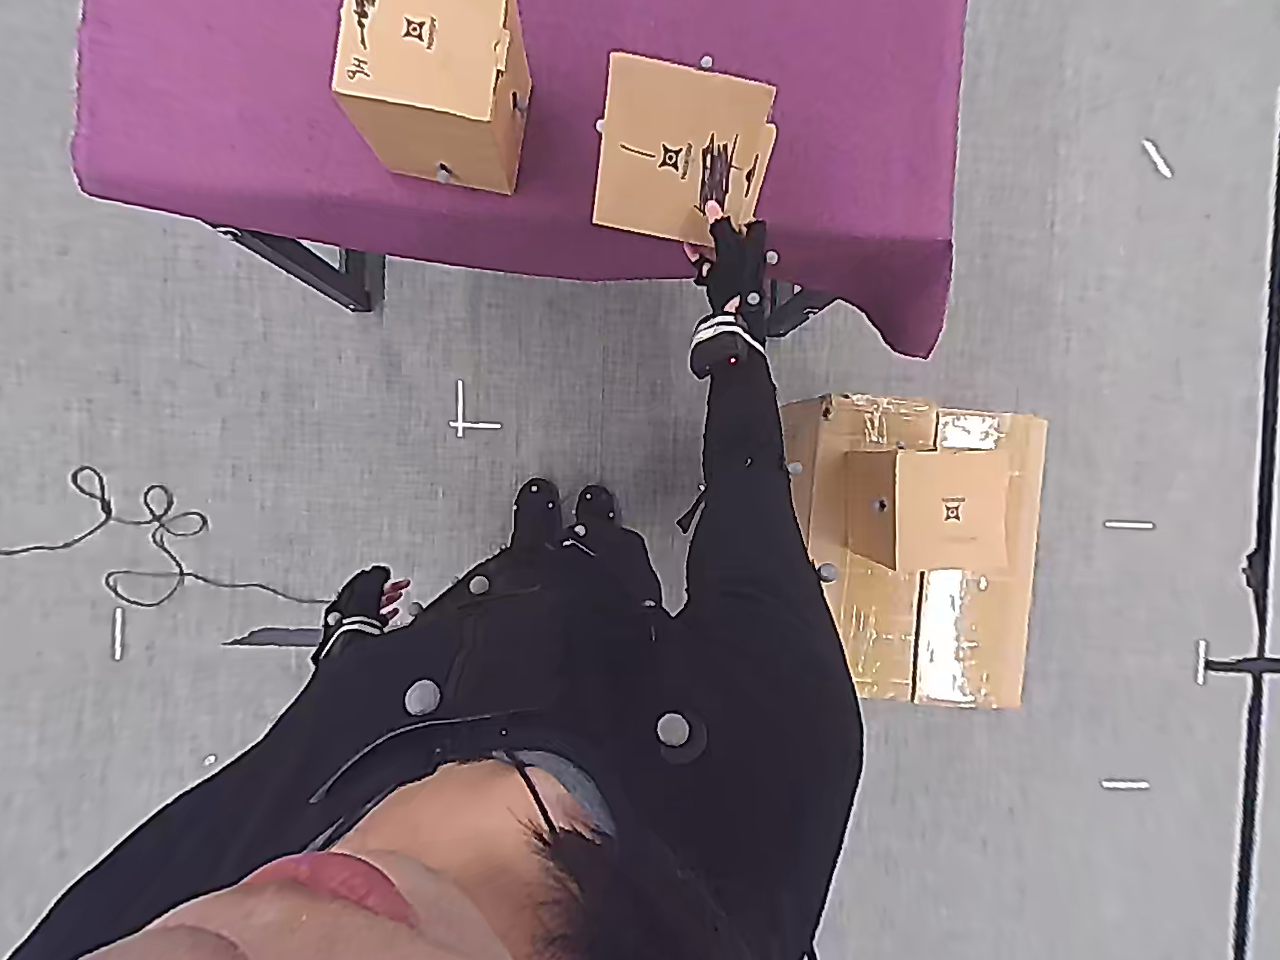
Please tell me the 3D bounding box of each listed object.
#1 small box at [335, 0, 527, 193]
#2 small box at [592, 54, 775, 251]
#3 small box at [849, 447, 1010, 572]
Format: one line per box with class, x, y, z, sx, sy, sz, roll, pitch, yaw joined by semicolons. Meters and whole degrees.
small box;-0.244;-0.491;0.677;0.179;0.176;0.168;9;90;-6
small box;0.046;-0.405;0.668;0.179;0.176;0.168;10;127;-4
small box;0.439;0.040;0.844;0.168;0.176;0.179;-2;93;-2
